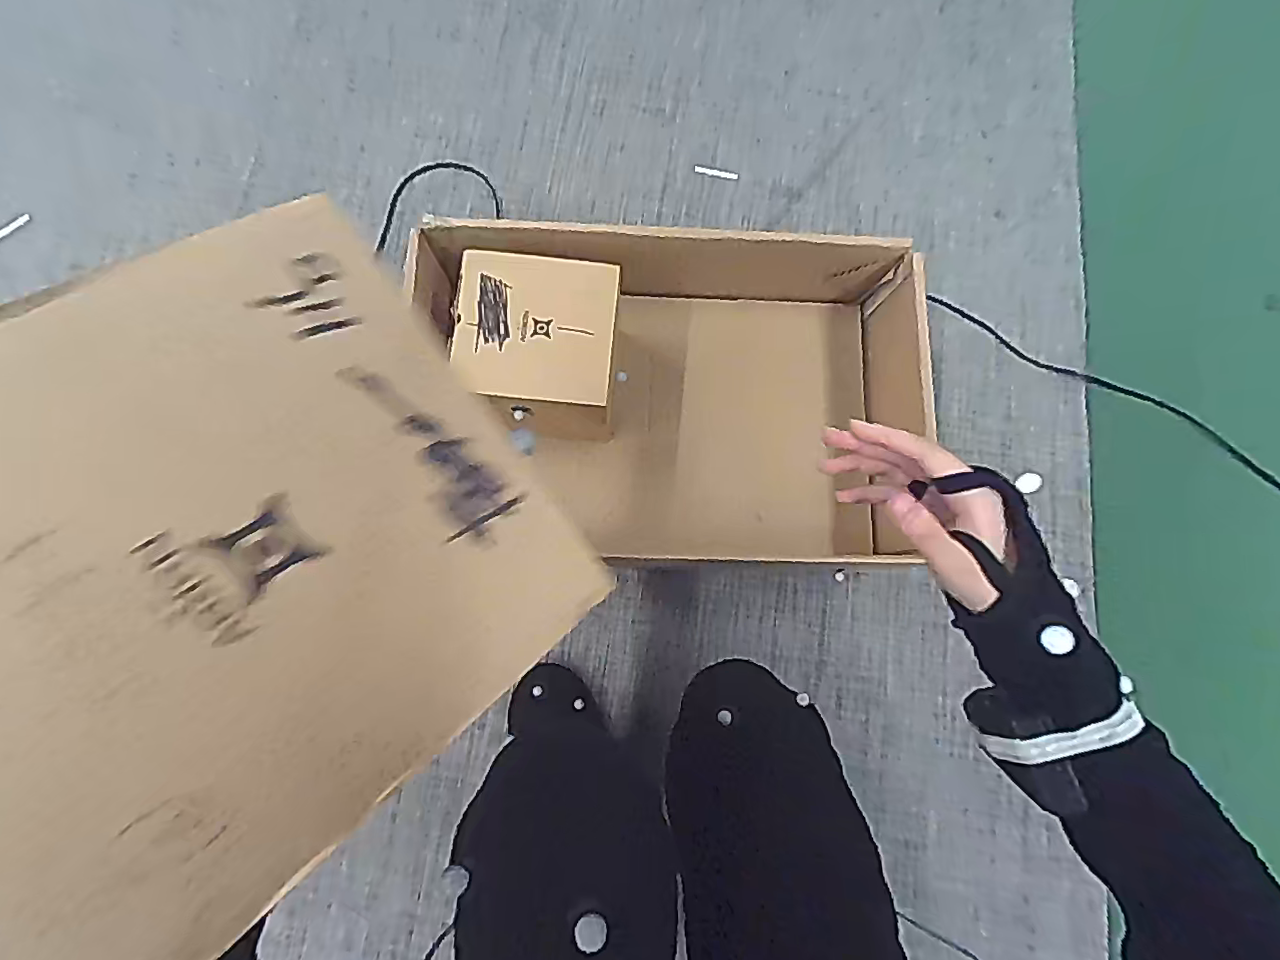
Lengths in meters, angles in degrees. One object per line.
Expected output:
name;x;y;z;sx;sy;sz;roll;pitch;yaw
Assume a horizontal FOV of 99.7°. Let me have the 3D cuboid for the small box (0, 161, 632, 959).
small box;-0.140;0.018;0.222;0.179;0.176;0.168;-37;102;-26
